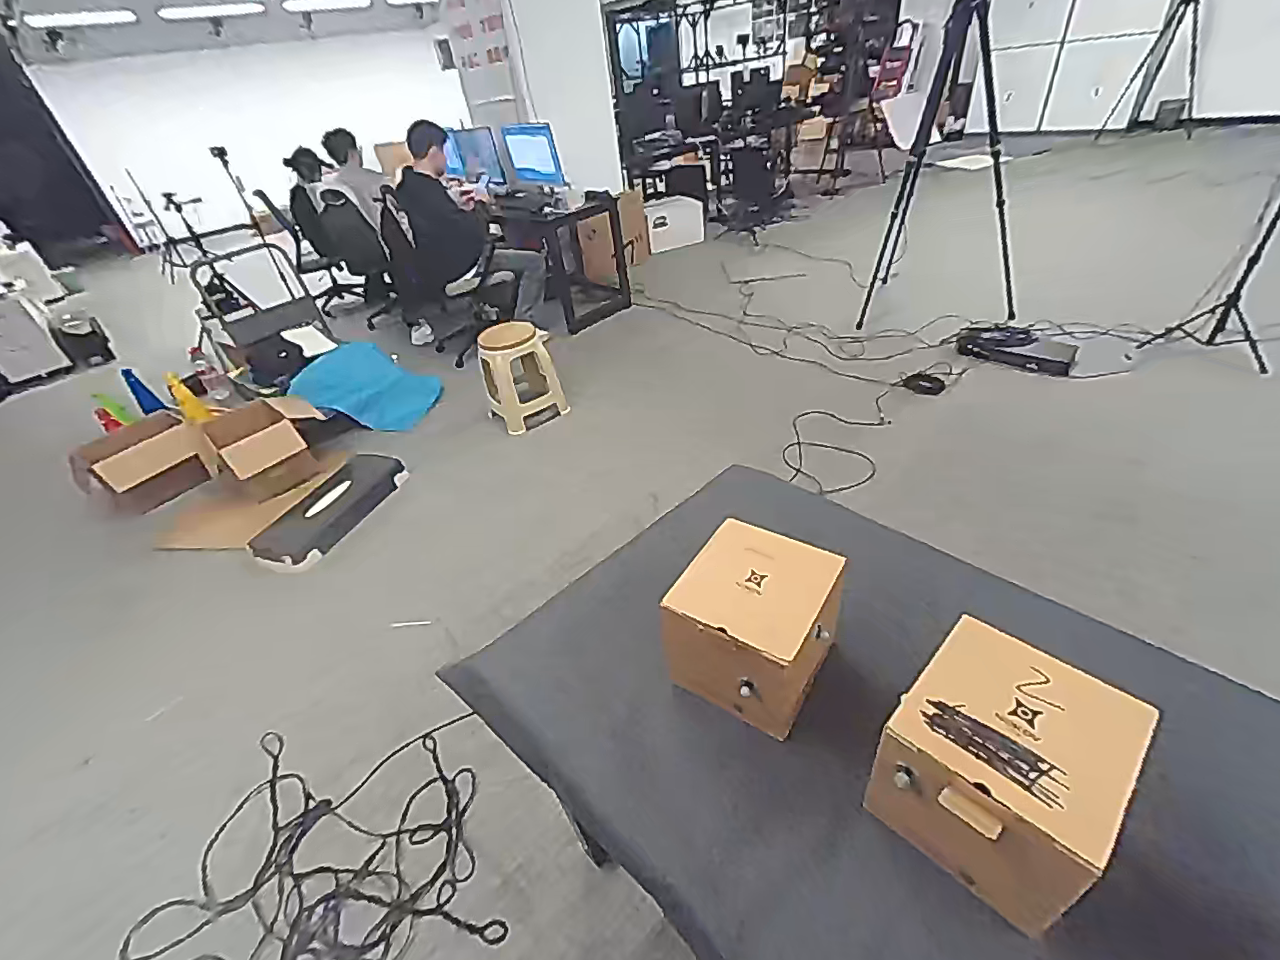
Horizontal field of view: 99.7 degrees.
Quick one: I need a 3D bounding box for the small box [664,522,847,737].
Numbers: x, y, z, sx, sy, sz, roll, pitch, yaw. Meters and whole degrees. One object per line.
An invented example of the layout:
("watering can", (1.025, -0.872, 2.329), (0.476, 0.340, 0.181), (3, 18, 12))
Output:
("small box", (0.151, 0.190, 0.701), (0.168, 0.176, 0.179), (19, 44, 31))
